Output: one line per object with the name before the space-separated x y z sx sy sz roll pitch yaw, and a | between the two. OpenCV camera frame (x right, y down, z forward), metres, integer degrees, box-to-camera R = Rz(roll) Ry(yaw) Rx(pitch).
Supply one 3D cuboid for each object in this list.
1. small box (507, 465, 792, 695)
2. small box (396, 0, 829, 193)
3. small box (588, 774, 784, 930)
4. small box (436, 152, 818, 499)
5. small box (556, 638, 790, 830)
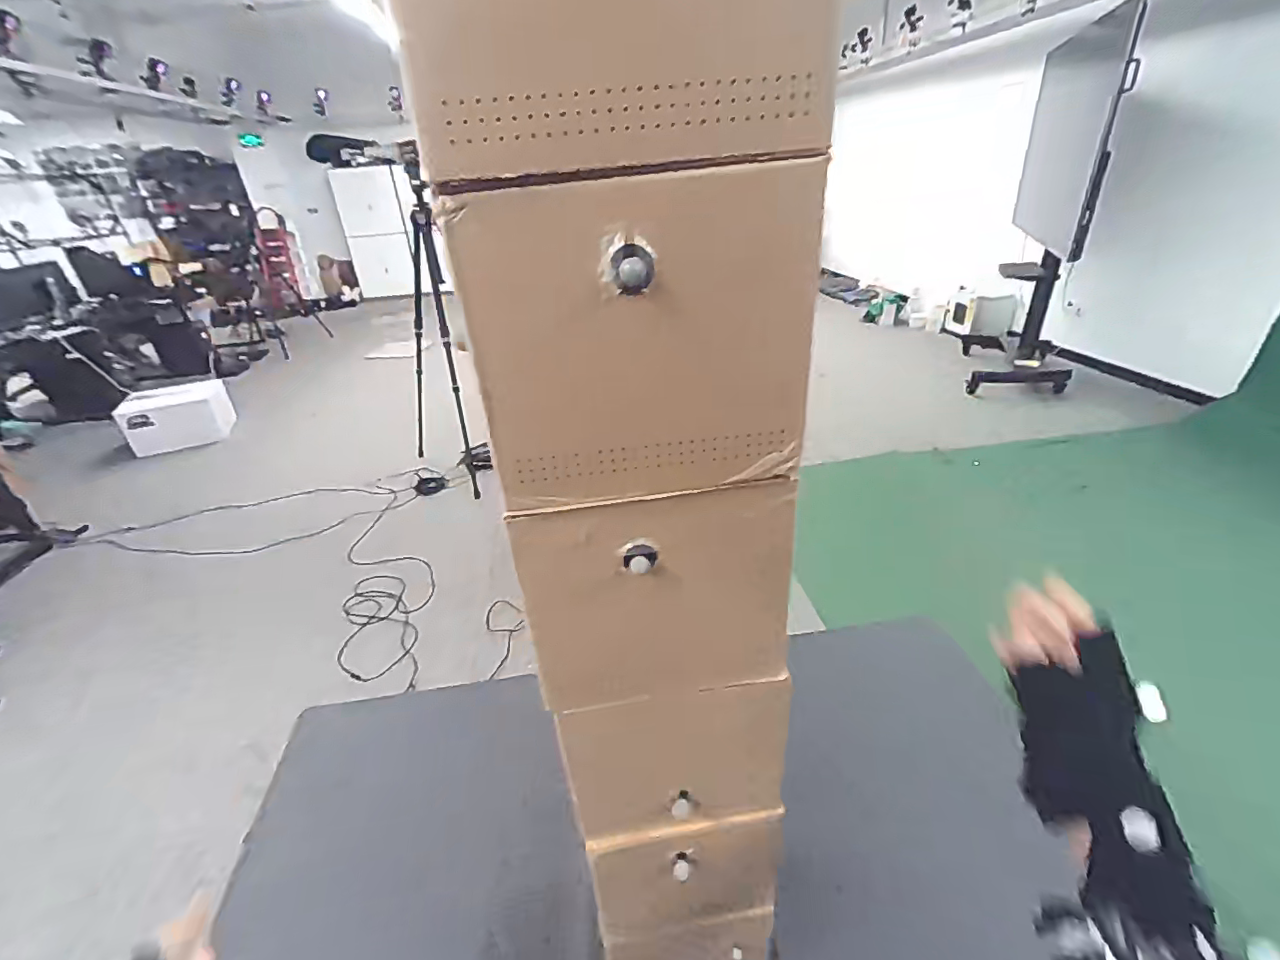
small box | 0.004 0.043 0.424 0.179 0.176 0.168 -7 29 -5
small box | -0.016 -0.241 0.263 0.179 0.176 0.168 -8 30 -5
small box | 0.036 0.333 0.575 0.179 0.176 0.168 -8 29 -6
small box | -0.004 -0.100 0.345 0.179 0.176 0.168 -7 30 -3
small box | 0.022 0.188 0.501 0.179 0.176 0.168 -6 29 -4
